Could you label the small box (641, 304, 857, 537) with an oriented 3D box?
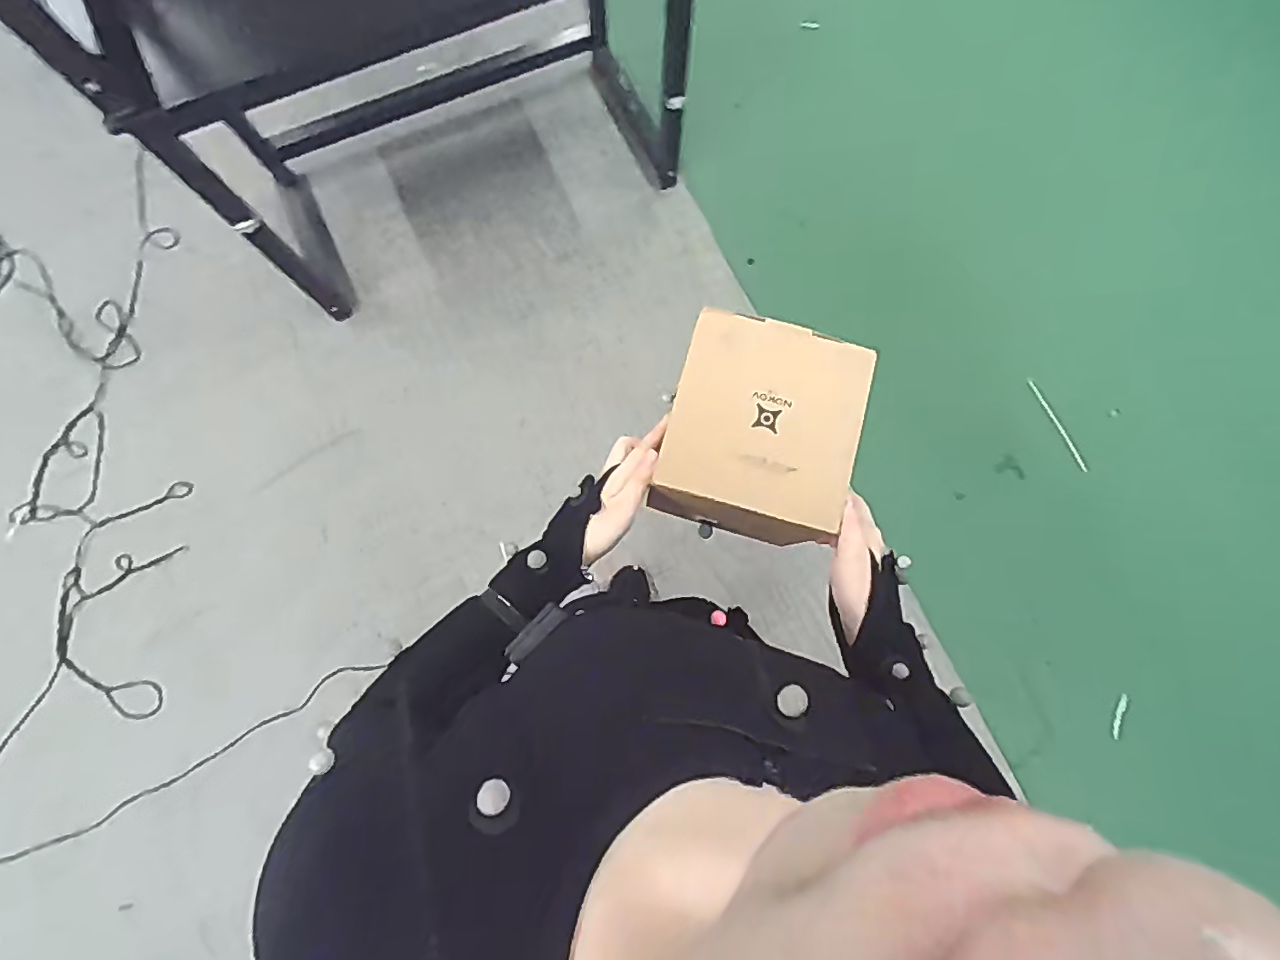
[{"bbox_3d":[0.099,-0.048,0.566,0.168,0.176,0.179,16,81,2],"label":"small box"}]
